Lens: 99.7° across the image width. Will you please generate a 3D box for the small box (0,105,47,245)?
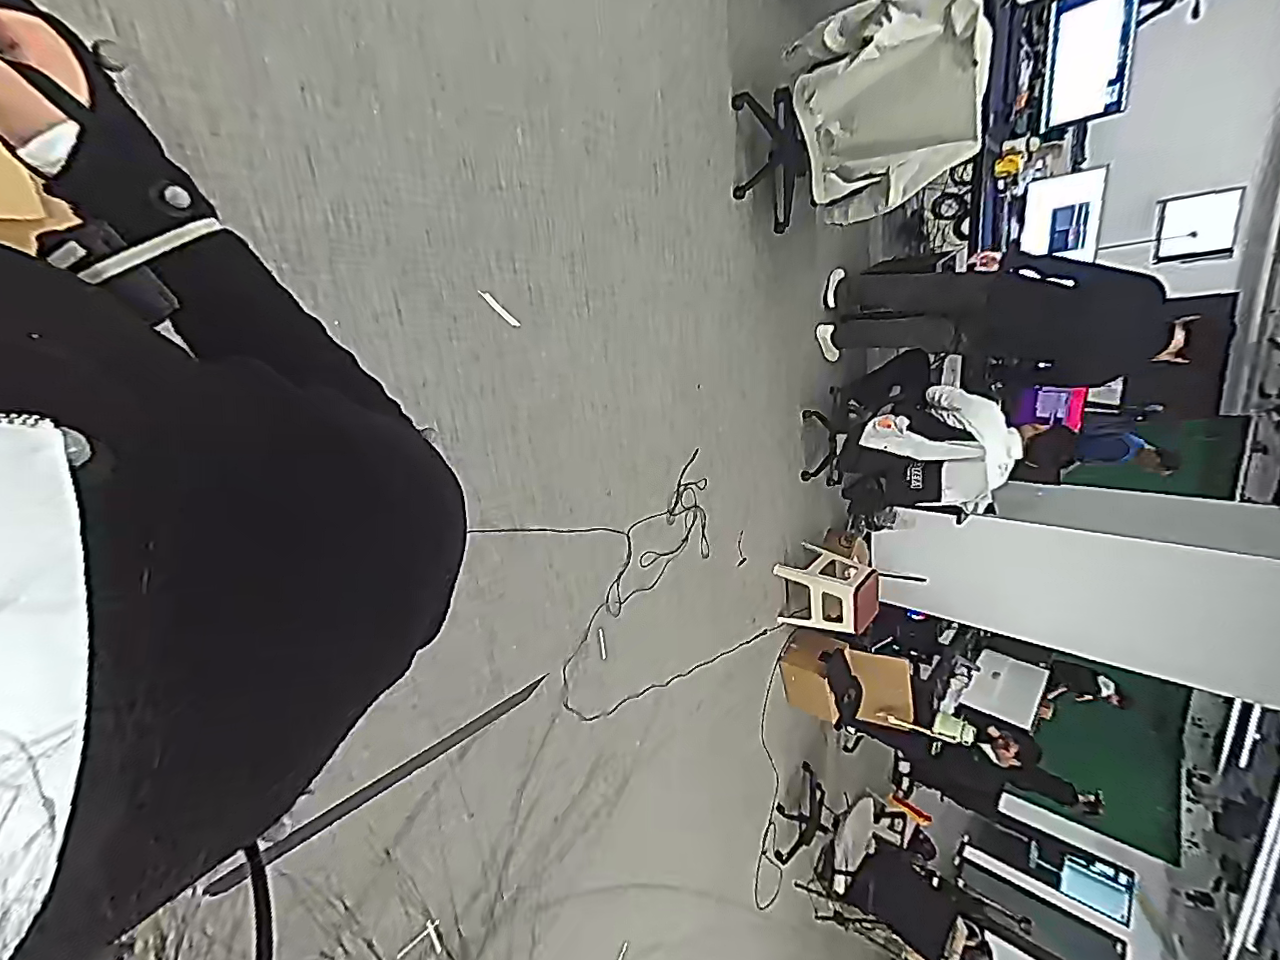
[{"bbox_3d":[-1.031,-0.459,0.801,0.168,0.176,0.179,-23,112,-42],"label":"small box"}]
